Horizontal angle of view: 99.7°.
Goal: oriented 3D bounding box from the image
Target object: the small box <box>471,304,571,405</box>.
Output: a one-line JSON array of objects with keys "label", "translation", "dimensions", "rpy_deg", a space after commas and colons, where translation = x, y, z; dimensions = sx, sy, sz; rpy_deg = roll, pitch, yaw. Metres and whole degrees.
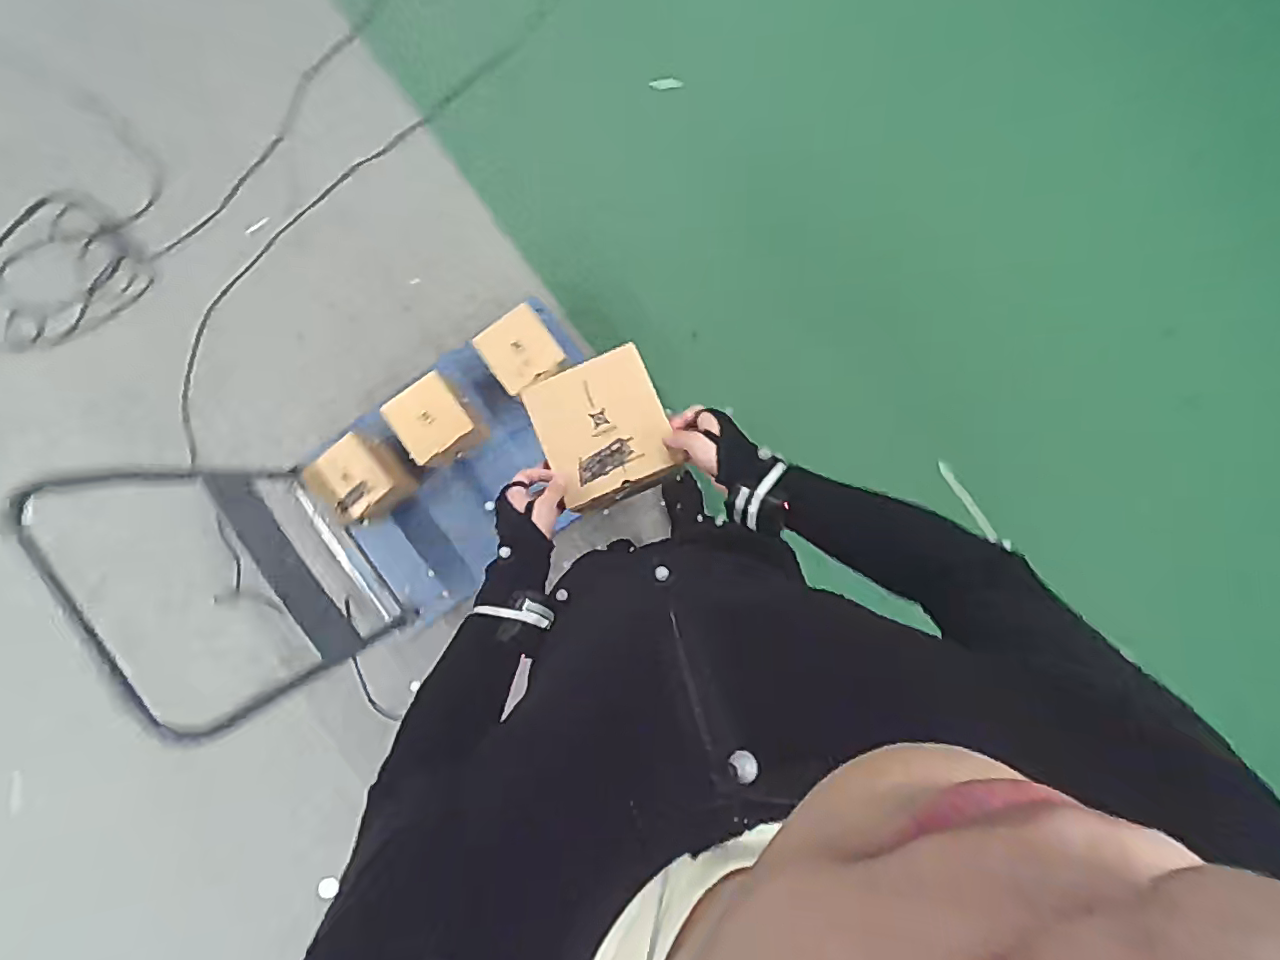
[{"label": "small box", "translation": [-0.300, -0.315, 1.398], "dimensions": [0.168, 0.176, 0.179], "rpy_deg": [-37, 89, 0]}]

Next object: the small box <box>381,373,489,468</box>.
[{"label": "small box", "translation": [-0.521, -0.144, 1.398], "dimensions": [0.168, 0.176, 0.179], "rpy_deg": [-36, 90, -1]}]

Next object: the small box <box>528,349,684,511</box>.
[{"label": "small box", "translation": [-0.042, -0.061, 0.799], "dimensions": [0.168, 0.176, 0.179], "rpy_deg": [-22, 83, 0]}]
